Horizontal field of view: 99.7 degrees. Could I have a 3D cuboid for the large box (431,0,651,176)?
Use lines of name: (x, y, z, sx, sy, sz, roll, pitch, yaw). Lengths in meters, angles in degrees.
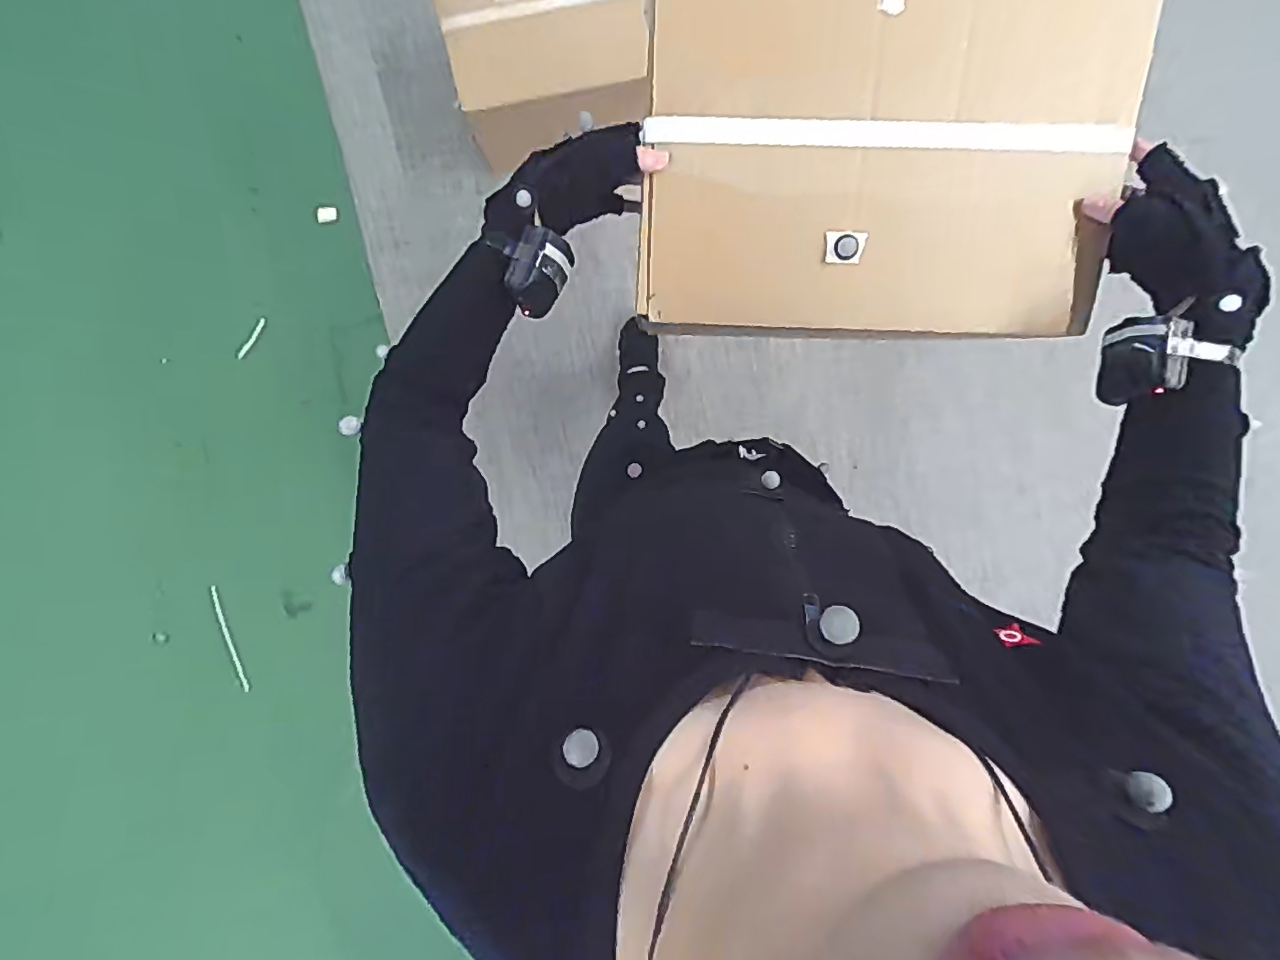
large box: (-0.208, -0.940, 1.216, 0.408, 0.320, 0.320, -12, 97, -1)
